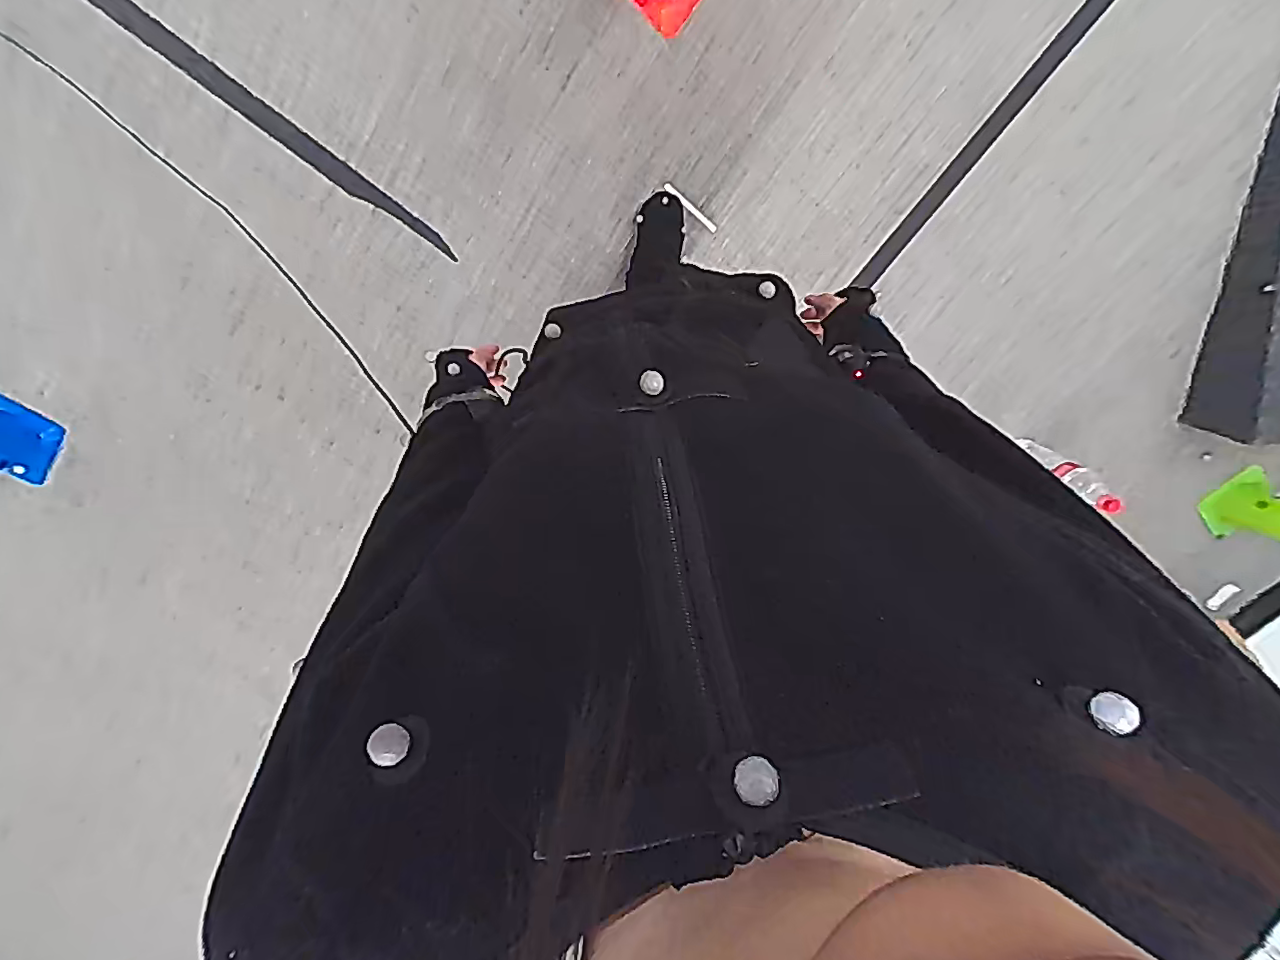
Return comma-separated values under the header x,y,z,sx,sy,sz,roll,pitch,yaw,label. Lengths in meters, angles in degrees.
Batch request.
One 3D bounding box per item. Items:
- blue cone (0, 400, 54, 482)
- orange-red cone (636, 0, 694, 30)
x,y,z,sx,sy,sz,roll,pitch,yaw,label
-1.527,-0.035,1.158,0.192,0.380,0.193,37,106,-19,blue cone
0.060,-0.930,0.861,0.199,0.360,0.198,37,107,-20,orange-red cone
